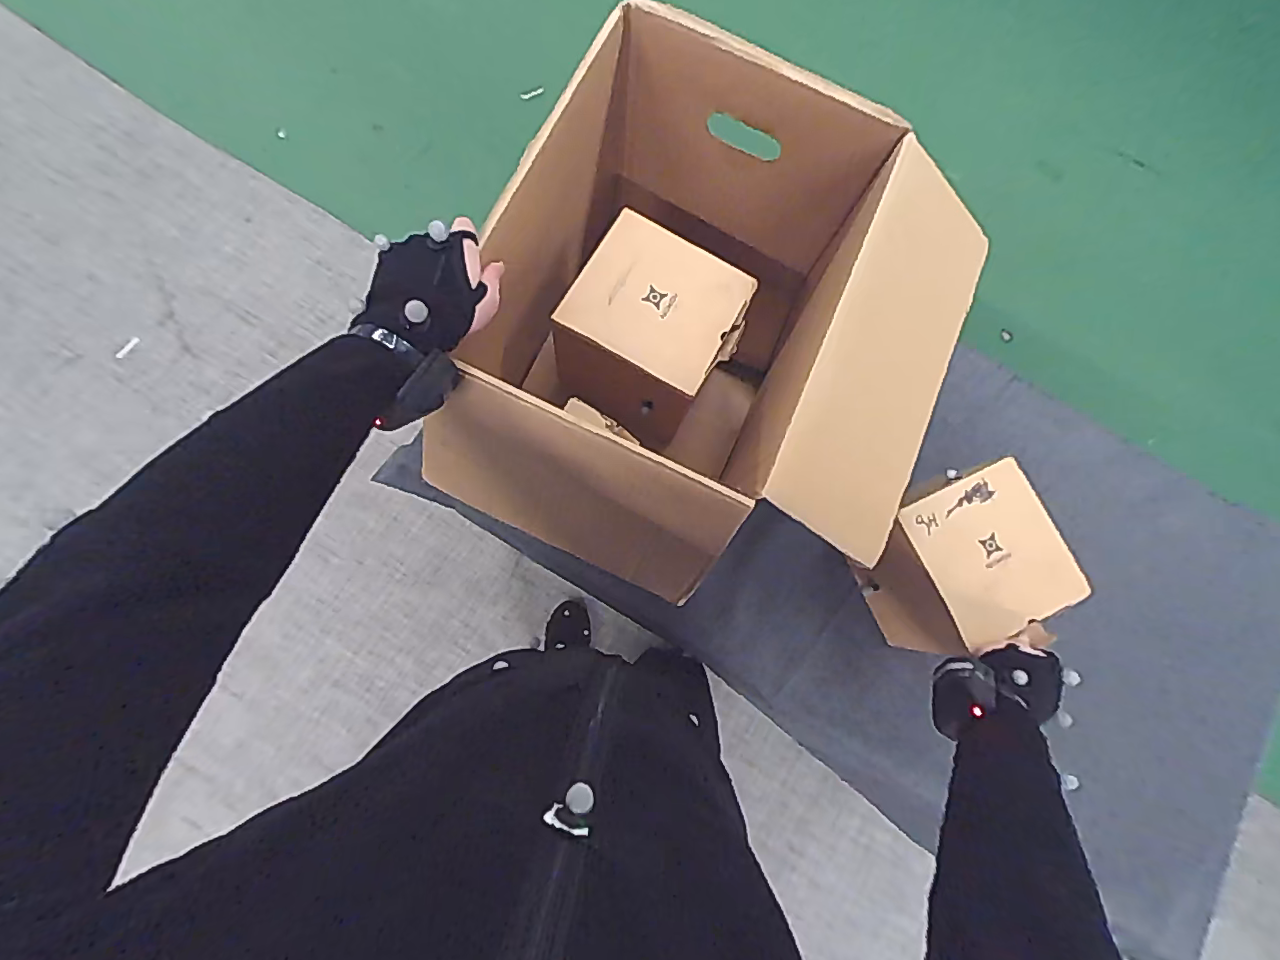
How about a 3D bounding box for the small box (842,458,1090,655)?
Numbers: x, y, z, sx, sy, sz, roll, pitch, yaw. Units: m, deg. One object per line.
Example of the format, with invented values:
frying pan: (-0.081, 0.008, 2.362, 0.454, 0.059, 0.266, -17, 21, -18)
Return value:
small box: (0.389, 0.094, 0.679, 0.168, 0.176, 0.179, -22, 82, -7)
